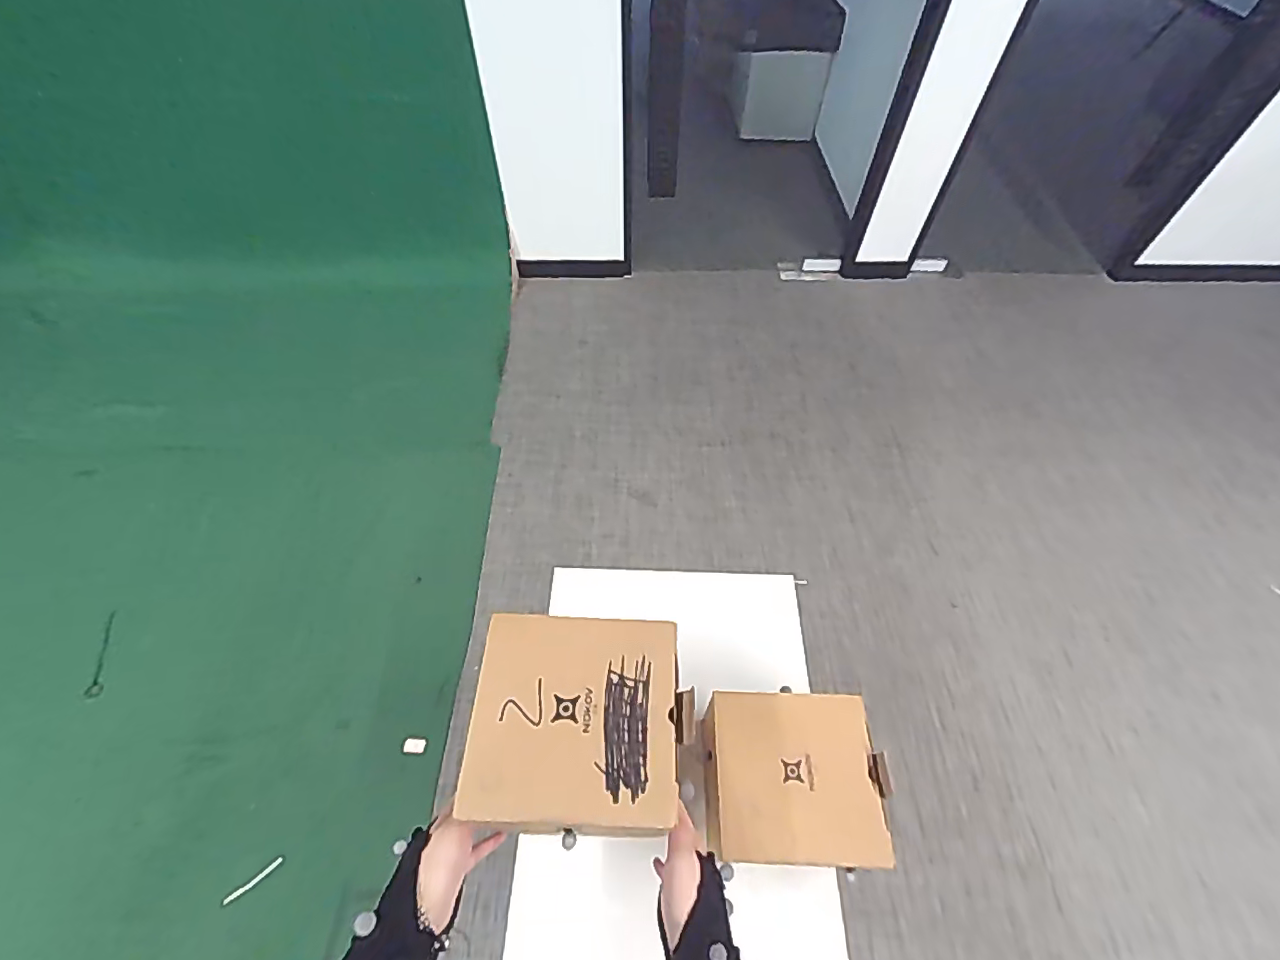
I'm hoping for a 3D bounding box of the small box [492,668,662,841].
[{"bbox_3d":[-0.064,0.338,0.660,0.179,0.176,0.168,2,55,-1],"label":"small box"}]
